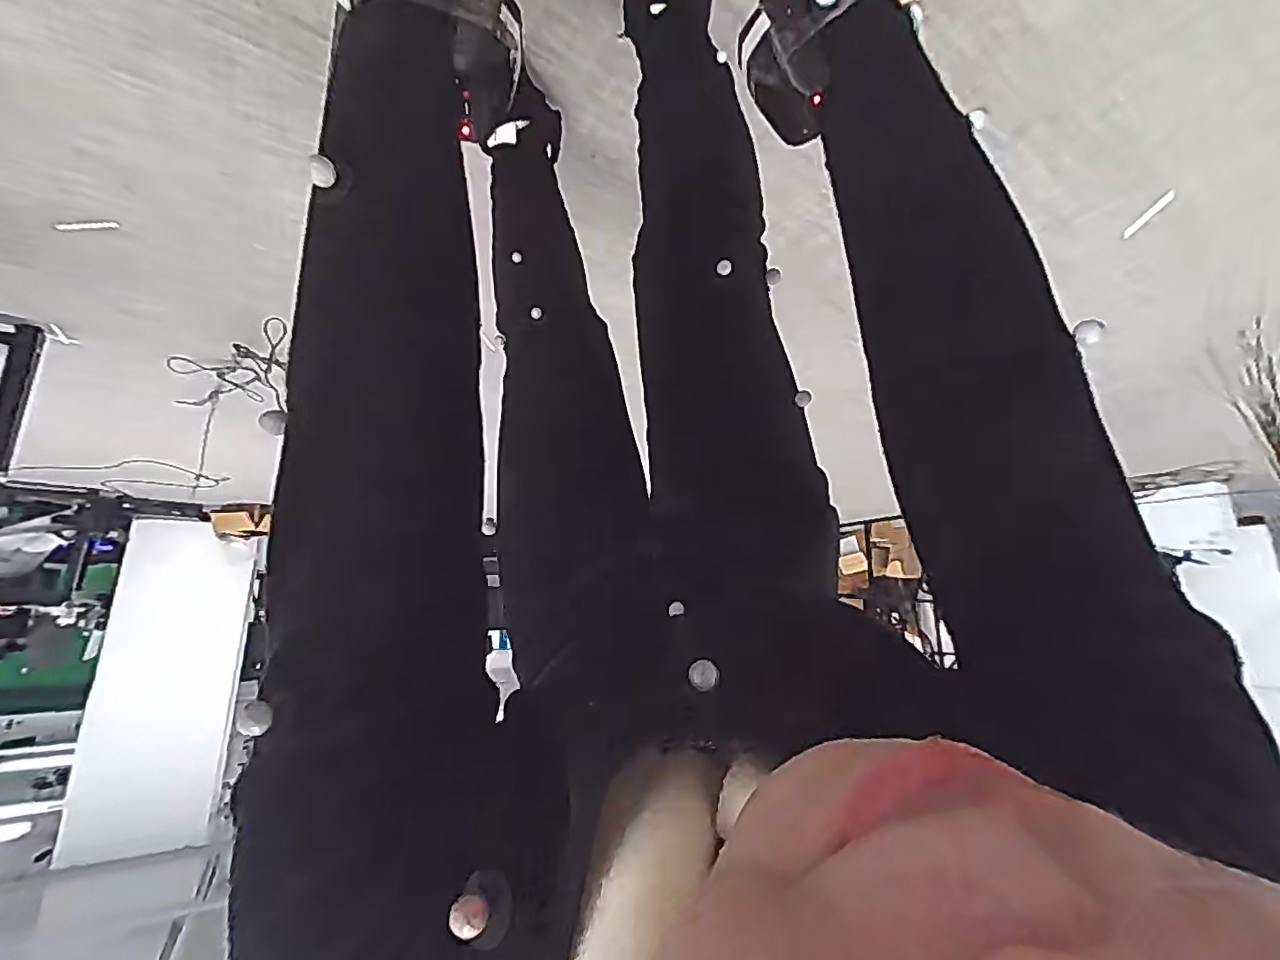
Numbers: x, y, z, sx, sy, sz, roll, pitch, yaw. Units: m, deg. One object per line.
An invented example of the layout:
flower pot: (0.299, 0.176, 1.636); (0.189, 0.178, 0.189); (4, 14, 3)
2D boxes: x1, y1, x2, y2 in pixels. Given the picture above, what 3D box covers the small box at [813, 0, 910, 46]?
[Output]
small box: (0.233, -0.596, 0.517); (0.168, 0.176, 0.179); (10, 162, -39)
